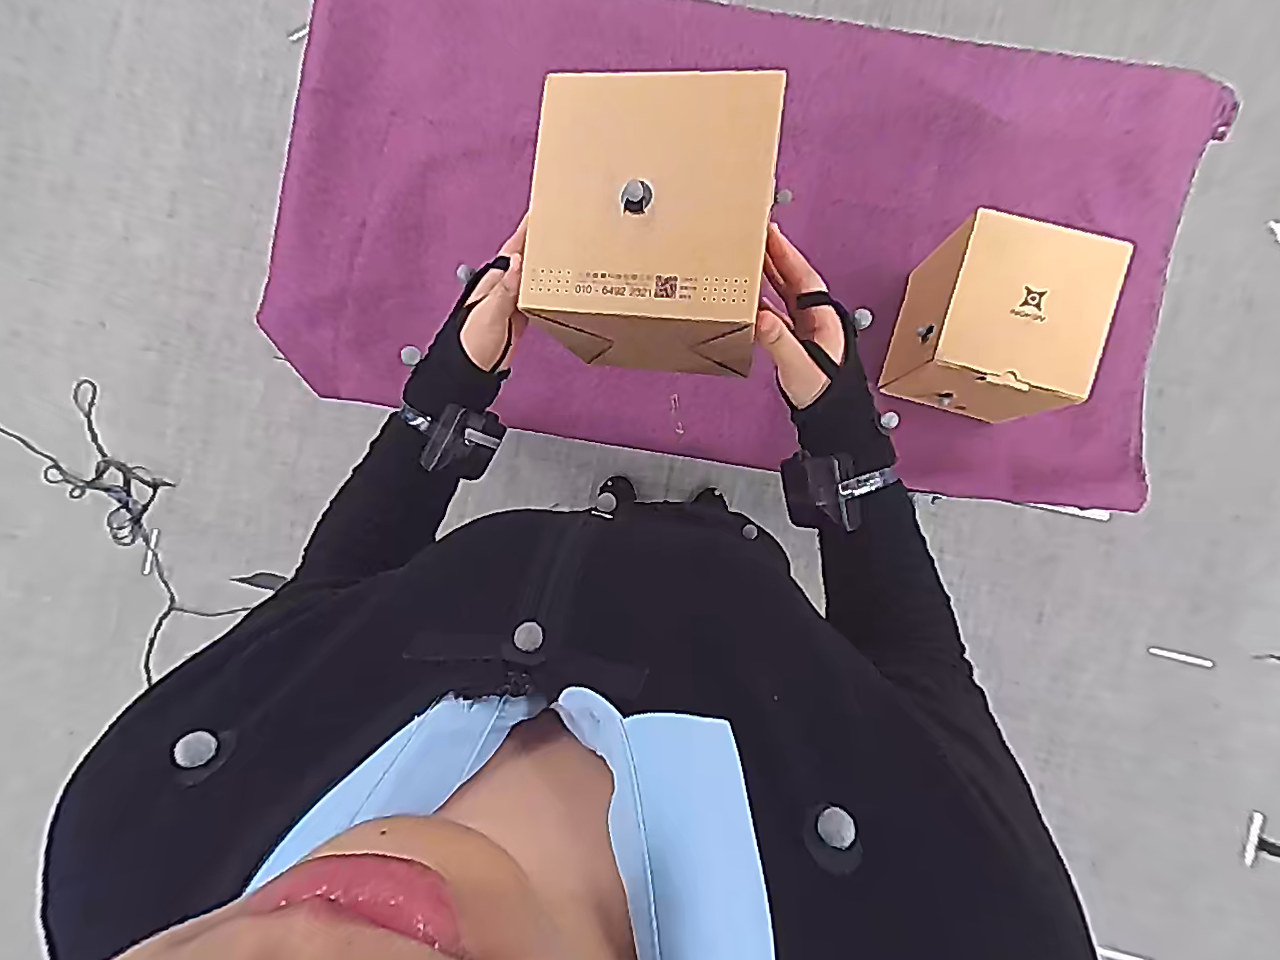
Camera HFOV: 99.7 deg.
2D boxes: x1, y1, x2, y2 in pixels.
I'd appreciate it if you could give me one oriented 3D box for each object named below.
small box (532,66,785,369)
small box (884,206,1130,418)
[{"bbox_3d":[0.021,-0.191,0.442,0.168,0.179,0.176,8,91,10],"label":"small box"},{"bbox_3d":[0.423,-0.188,0.656,0.168,0.176,0.179,16,90,4],"label":"small box"}]
